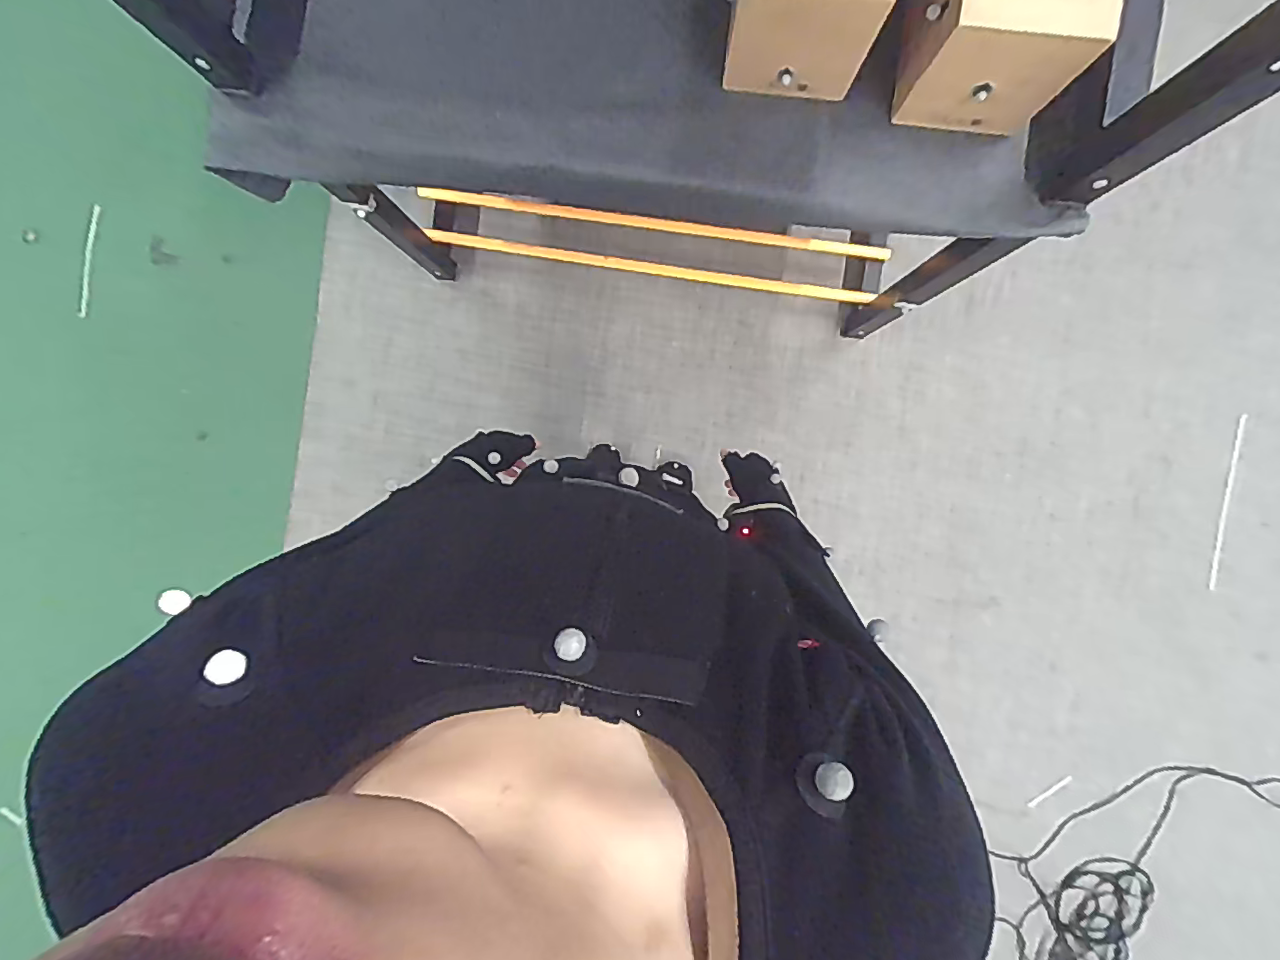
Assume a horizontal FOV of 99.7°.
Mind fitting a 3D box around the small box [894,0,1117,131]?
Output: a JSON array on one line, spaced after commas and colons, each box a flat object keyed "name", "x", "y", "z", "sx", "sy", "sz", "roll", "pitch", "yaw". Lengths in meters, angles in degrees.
[{"name": "small box", "x": 0.425, "y": -0.556, "z": 0.646, "sx": 0.168, "sy": 0.176, "sz": 0.179, "roll": 7, "pitch": 91, "yaw": 1}]
